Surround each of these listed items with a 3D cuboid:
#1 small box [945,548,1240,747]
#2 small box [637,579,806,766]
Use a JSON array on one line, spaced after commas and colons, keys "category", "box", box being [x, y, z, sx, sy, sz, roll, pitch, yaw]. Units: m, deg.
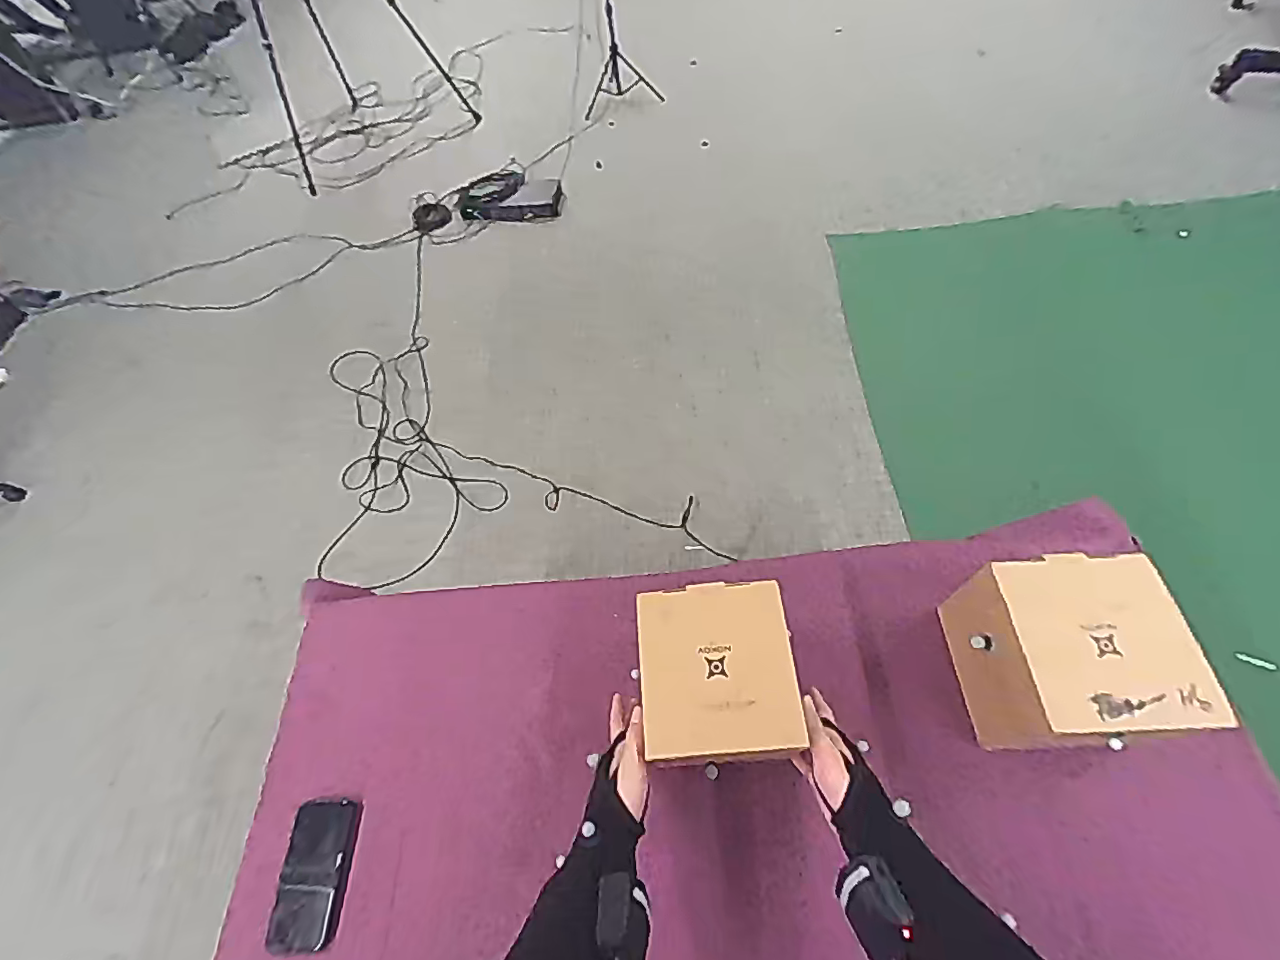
[{"category": "small box", "box": [0.475, 0.194, 0.611, 0.168, 0.176, 0.179, -6, 58, 7]}, {"category": "small box", "box": [0.090, 0.235, 0.647, 0.168, 0.176, 0.179, -7, 59, 6]}]
